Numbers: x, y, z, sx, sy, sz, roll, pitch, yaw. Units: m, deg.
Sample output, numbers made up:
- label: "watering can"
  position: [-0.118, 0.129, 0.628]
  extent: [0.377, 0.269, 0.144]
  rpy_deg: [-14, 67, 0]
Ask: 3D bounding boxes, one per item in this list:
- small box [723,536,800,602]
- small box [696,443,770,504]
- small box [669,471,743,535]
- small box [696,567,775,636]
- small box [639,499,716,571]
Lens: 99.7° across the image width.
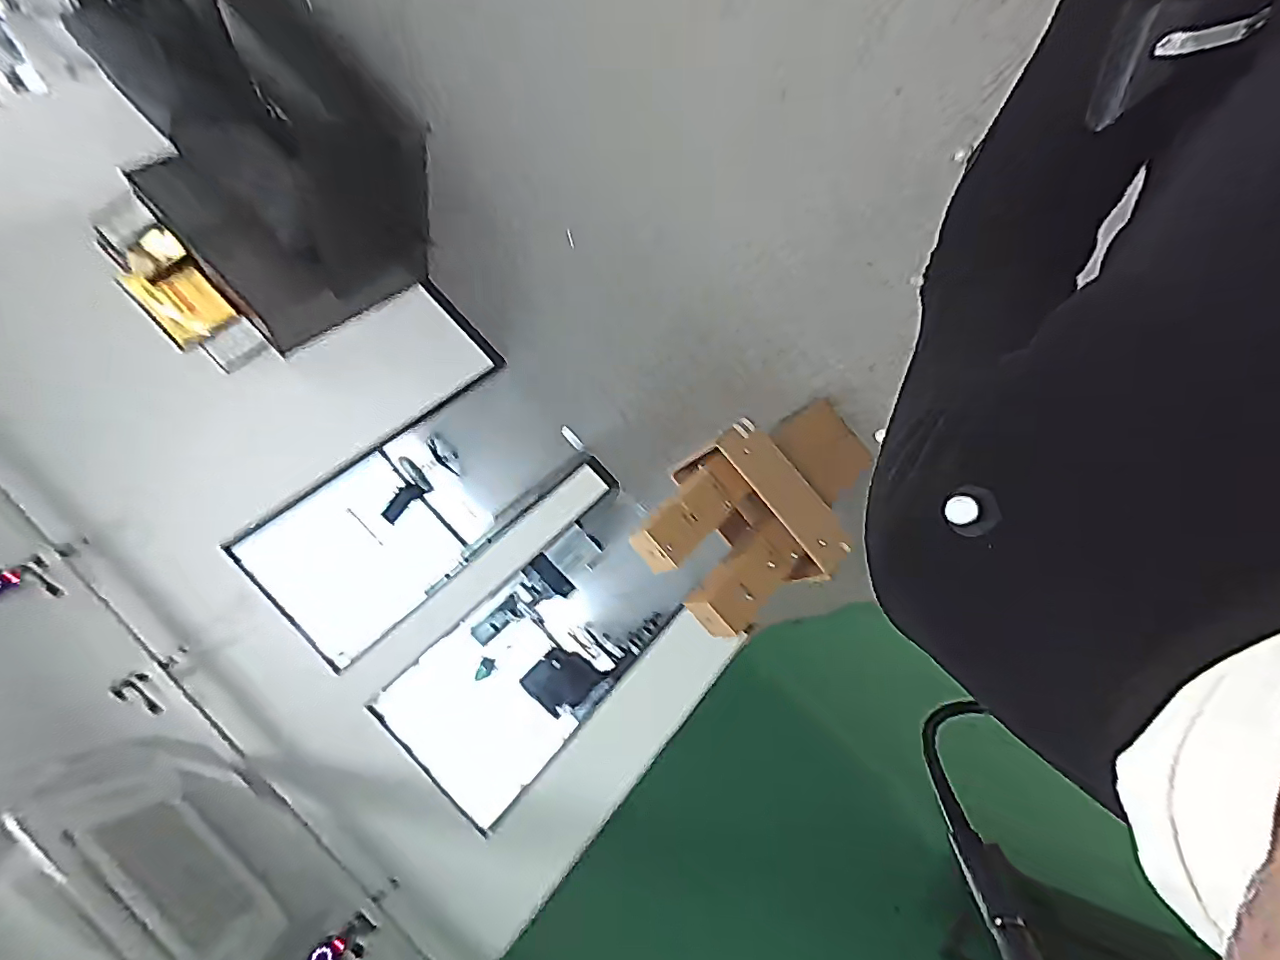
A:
- label: "small box"
  position: [0.441, 0.322, 1.950]
  extent: [0.168, 0.176, 0.179]
  rpy_deg: [49, 154, -5]
- label: "small box"
  position: [0.349, -0.009, 2.012]
  extent: [0.168, 0.176, 0.179]
  rpy_deg: [50, 153, -3]
- label: "small box"
  position: [0.243, 0.090, 1.934]
  extent: [0.168, 0.176, 0.179]
  rpy_deg: [50, 154, -4]
- label: "small box"
  position: [0.332, 0.420, 1.879]
  extent: [0.168, 0.176, 0.179]
  rpy_deg: [49, 154, -5]
- label: "small box"
  position: [0.131, 0.190, 1.868]
  extent: [0.168, 0.176, 0.179]
  rpy_deg: [49, 154, -1]
